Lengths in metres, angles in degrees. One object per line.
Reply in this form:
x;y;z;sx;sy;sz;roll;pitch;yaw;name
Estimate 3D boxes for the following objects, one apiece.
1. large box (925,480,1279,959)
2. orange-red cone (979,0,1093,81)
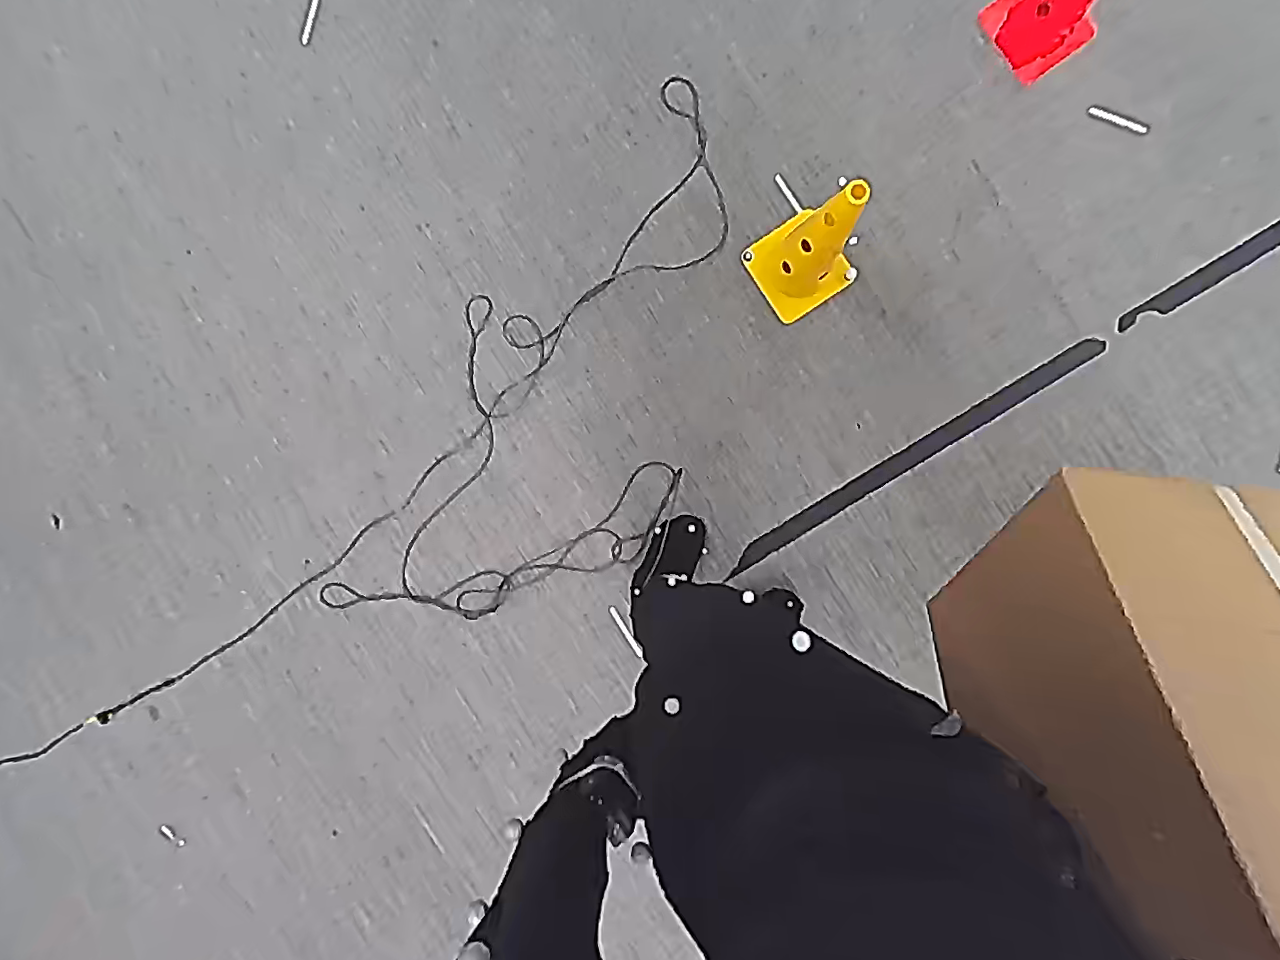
0.547;0.262;0.551;0.320;0.320;0.408;7;51;4;large box
0.882;-1.013;1.043;0.199;0.360;0.198;-35;91;4;orange-red cone
